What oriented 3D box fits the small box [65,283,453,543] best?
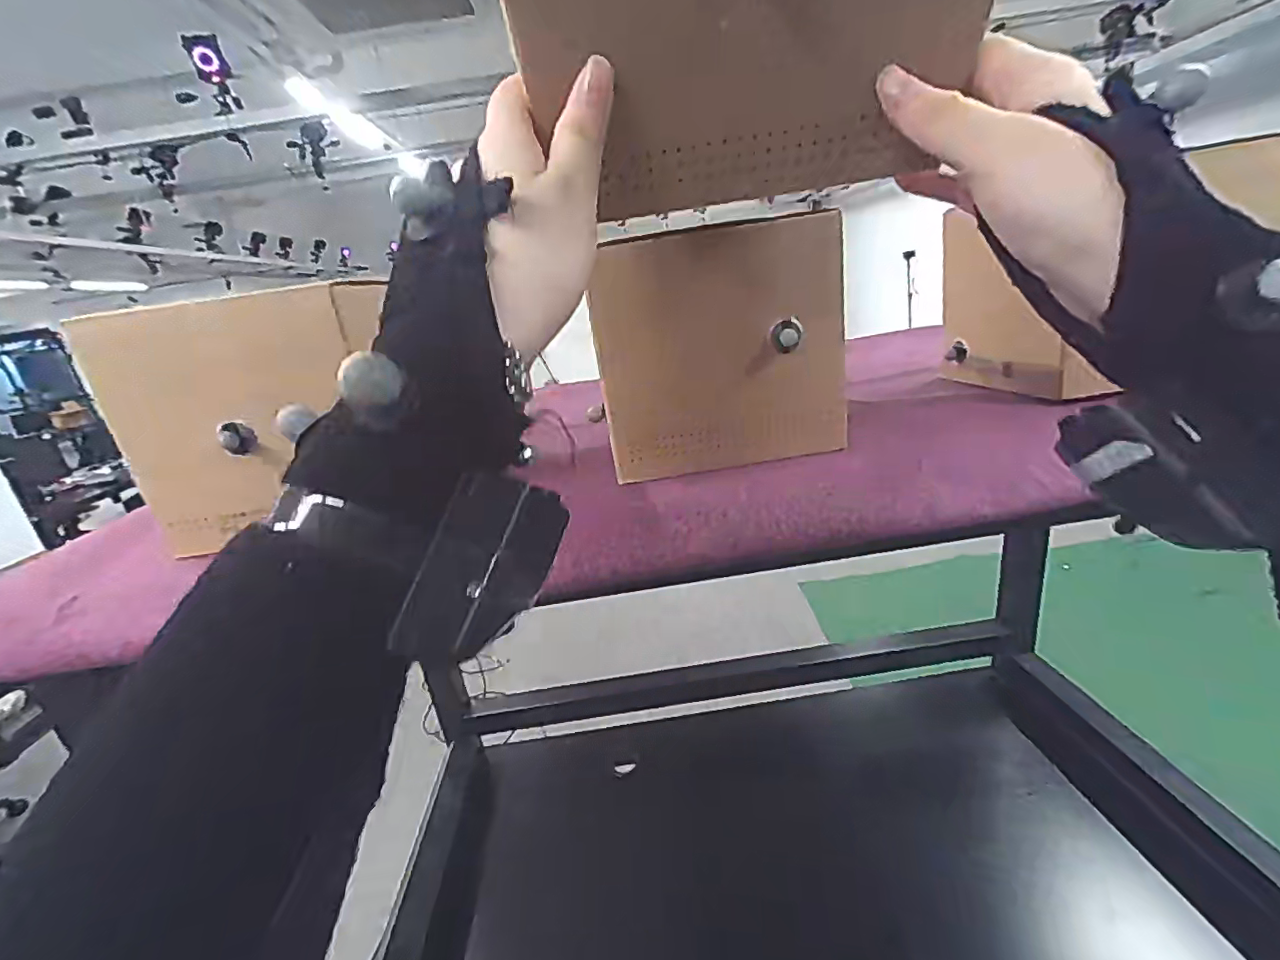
[{"bbox_3d":[-0.266,-0.057,0.436,0.168,0.176,0.179,-8,20,-2],"label":"small box"}]

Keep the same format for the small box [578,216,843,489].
[{"bbox_3d":[0.052,-0.106,0.448,0.179,0.176,0.168,-10,19,-1],"label":"small box"}]

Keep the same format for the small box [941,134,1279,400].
[{"bbox_3d":[0.394,-0.171,0.472,0.179,0.176,0.168,-9,17,1],"label":"small box"}]
